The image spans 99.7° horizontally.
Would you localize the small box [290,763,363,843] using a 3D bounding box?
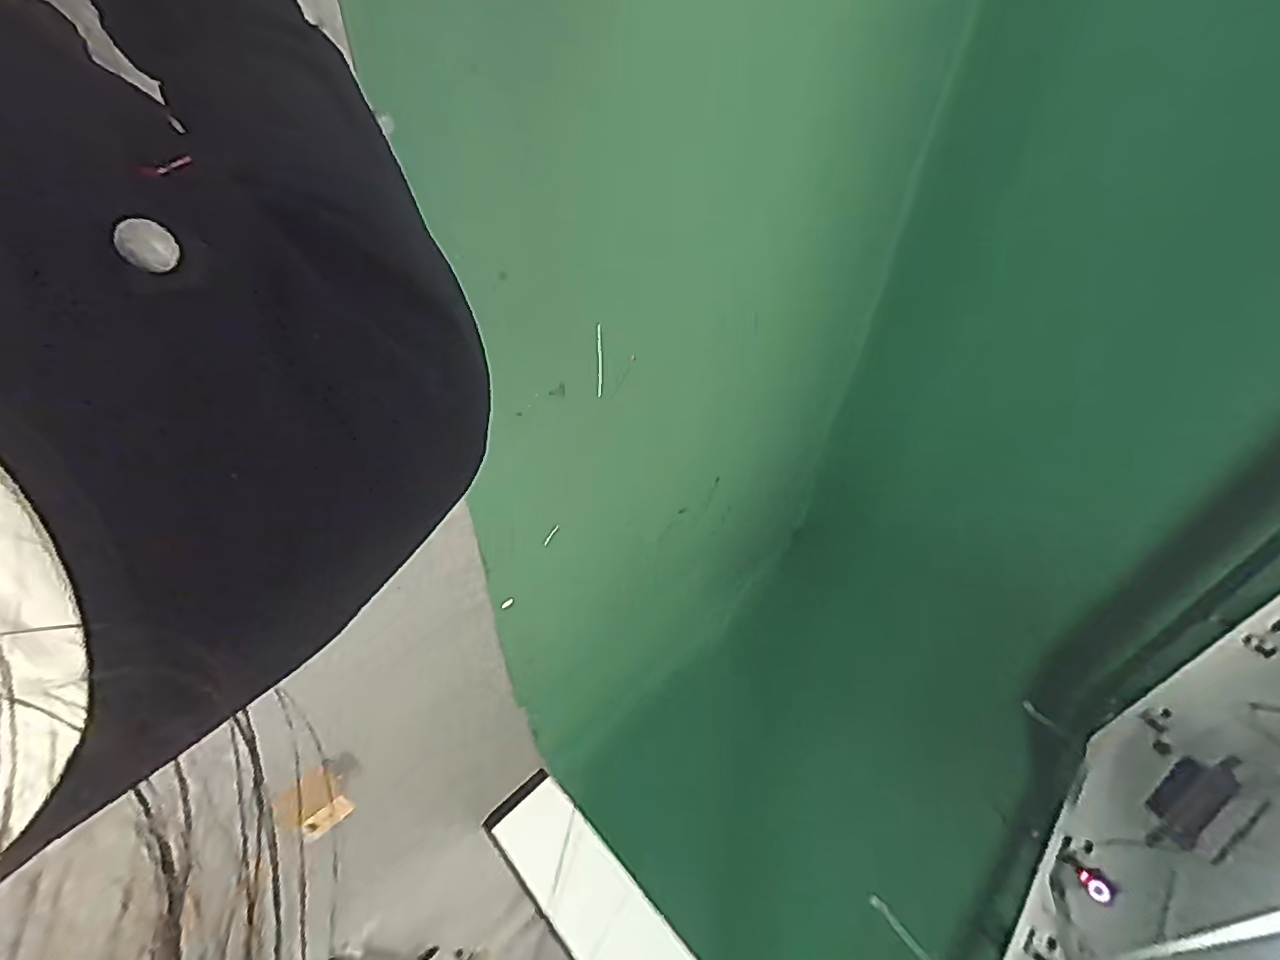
[{"bbox_3d":[-1.223,1.249,2.097,0.179,0.176,0.168,-35,143,-32],"label":"small box"}]
